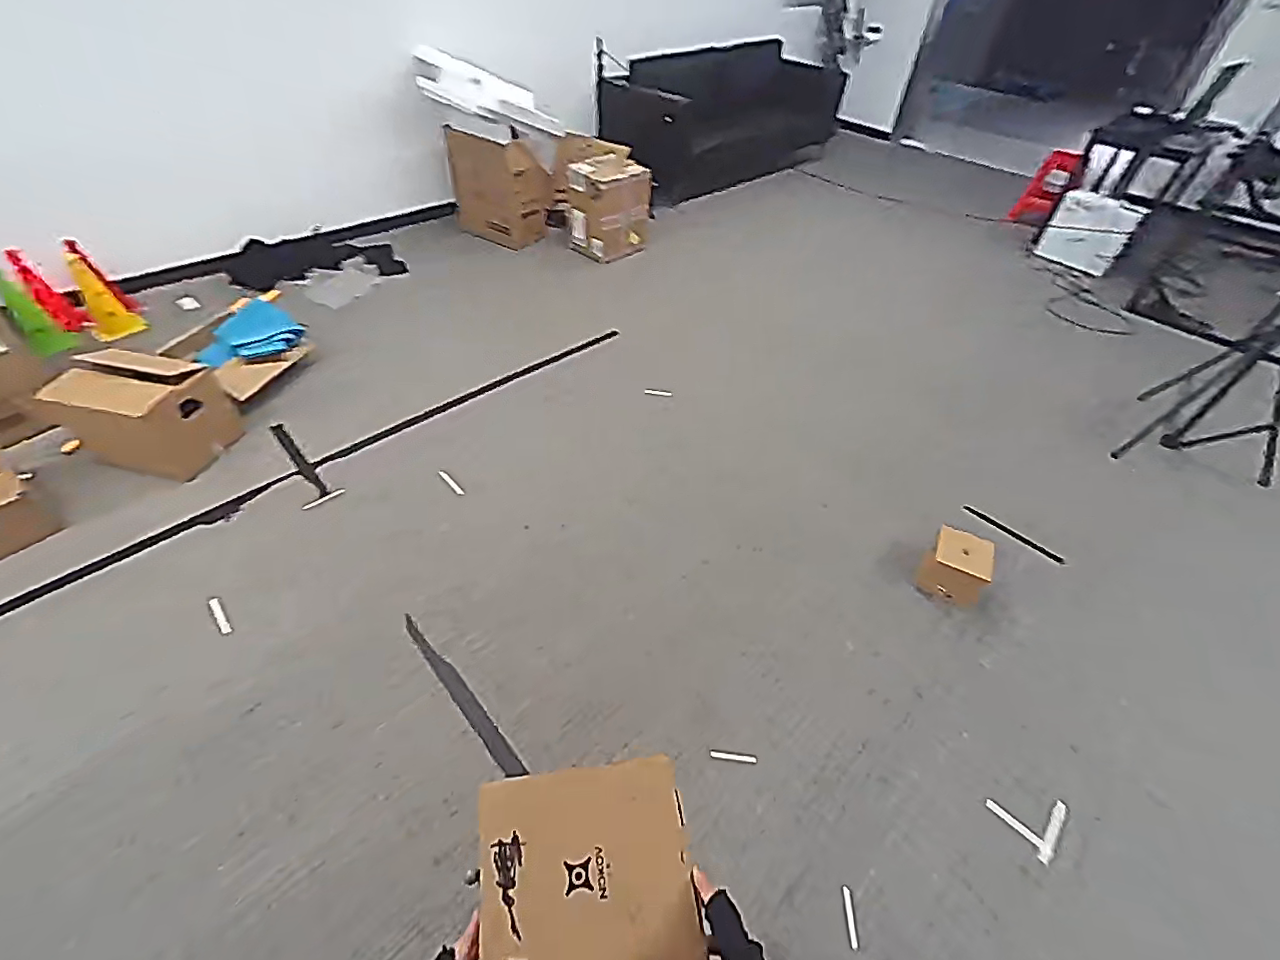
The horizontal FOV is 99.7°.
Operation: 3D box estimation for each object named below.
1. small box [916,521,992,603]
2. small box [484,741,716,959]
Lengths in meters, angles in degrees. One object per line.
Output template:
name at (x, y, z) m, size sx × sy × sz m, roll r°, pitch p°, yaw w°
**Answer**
small box at (1.046, 0.274, 1.805) m, size 0.168 × 0.176 × 0.179 m, roll 21°, pitch 49°, yaw 18°
small box at (-0.048, 0.362, 0.504) m, size 0.179 × 0.176 × 0.168 m, roll -1°, pitch 48°, yaw -12°
